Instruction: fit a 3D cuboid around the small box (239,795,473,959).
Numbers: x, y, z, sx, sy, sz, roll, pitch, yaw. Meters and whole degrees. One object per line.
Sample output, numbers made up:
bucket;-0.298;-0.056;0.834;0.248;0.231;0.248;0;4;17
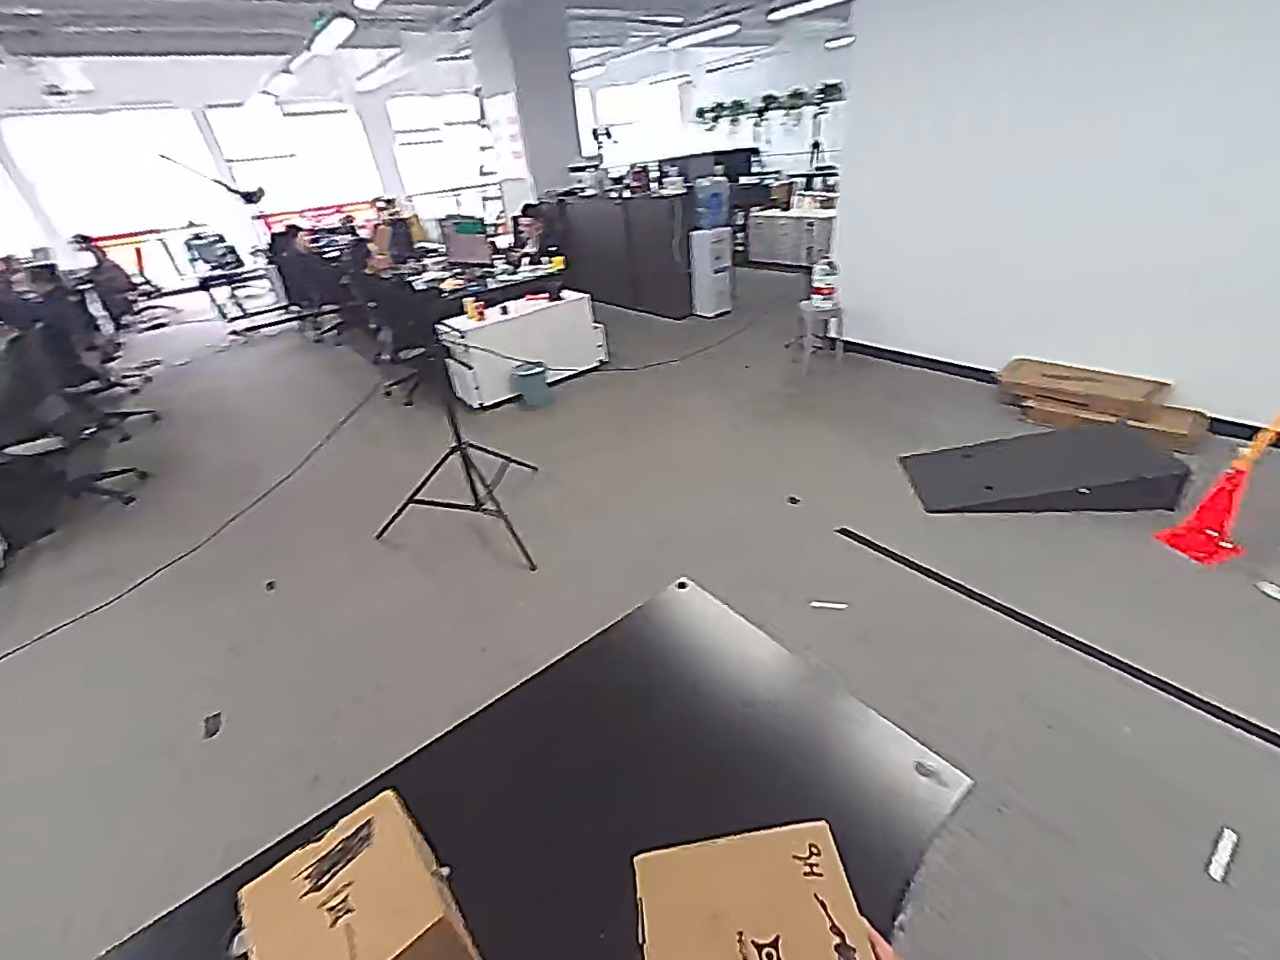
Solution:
small box;-0.309;0.514;0.604;0.168;0.176;0.179;-28;38;-30

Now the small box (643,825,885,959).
small box;0.105;0.426;0.457;0.179;0.176;0.168;-8;39;-1
